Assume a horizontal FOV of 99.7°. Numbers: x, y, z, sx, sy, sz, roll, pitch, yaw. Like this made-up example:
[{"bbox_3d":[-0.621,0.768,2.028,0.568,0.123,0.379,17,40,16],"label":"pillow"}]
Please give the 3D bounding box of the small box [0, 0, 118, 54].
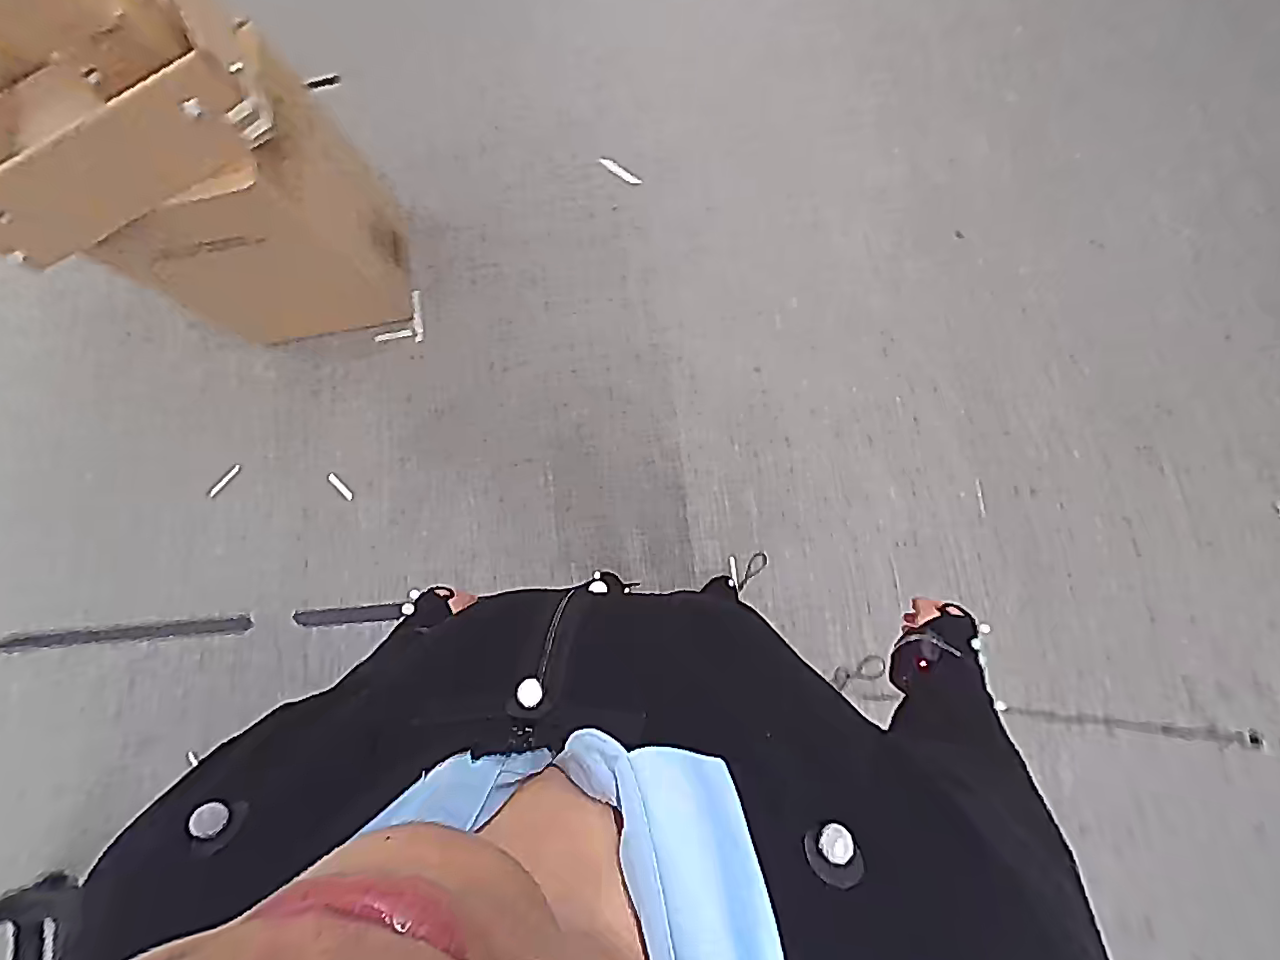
[{"bbox_3d":[-0.997,-0.848,0.871,0.179,0.176,0.168,-15,81,5],"label":"small box"}]
